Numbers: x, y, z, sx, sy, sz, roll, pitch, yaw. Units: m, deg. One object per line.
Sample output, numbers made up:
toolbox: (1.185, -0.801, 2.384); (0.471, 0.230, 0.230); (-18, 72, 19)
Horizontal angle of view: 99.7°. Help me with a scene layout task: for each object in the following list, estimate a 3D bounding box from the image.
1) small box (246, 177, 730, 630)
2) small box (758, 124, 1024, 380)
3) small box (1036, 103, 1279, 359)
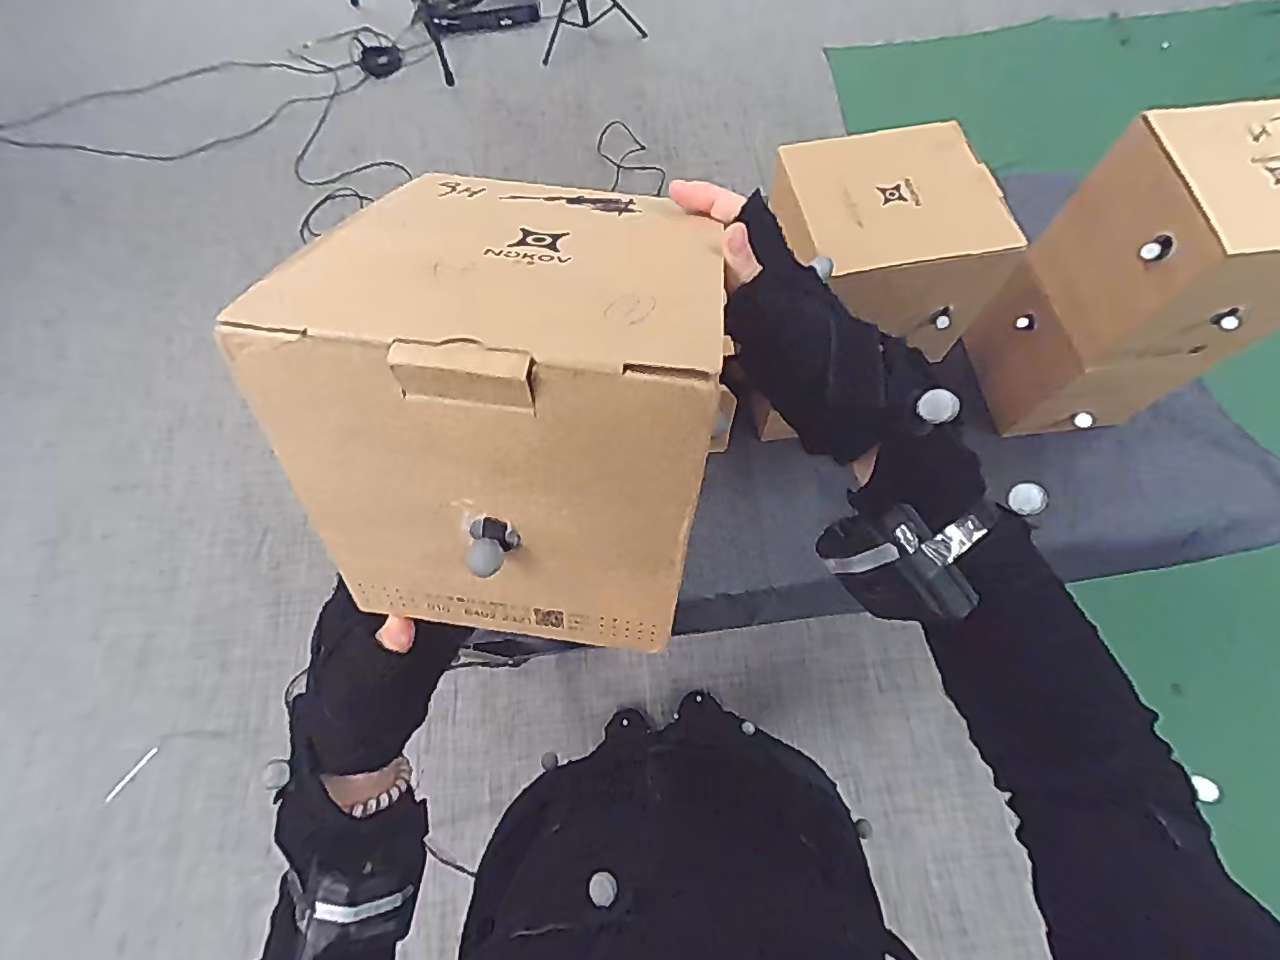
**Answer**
small box: (-0.047, -0.042, 0.292); (0.168, 0.176, 0.179); (8, 44, 2)
small box: (0.235, -0.224, 0.561); (0.179, 0.176, 0.168); (-9, 67, 0)
small box: (0.556, -0.237, 0.547); (0.168, 0.176, 0.179); (-4, 68, 1)
